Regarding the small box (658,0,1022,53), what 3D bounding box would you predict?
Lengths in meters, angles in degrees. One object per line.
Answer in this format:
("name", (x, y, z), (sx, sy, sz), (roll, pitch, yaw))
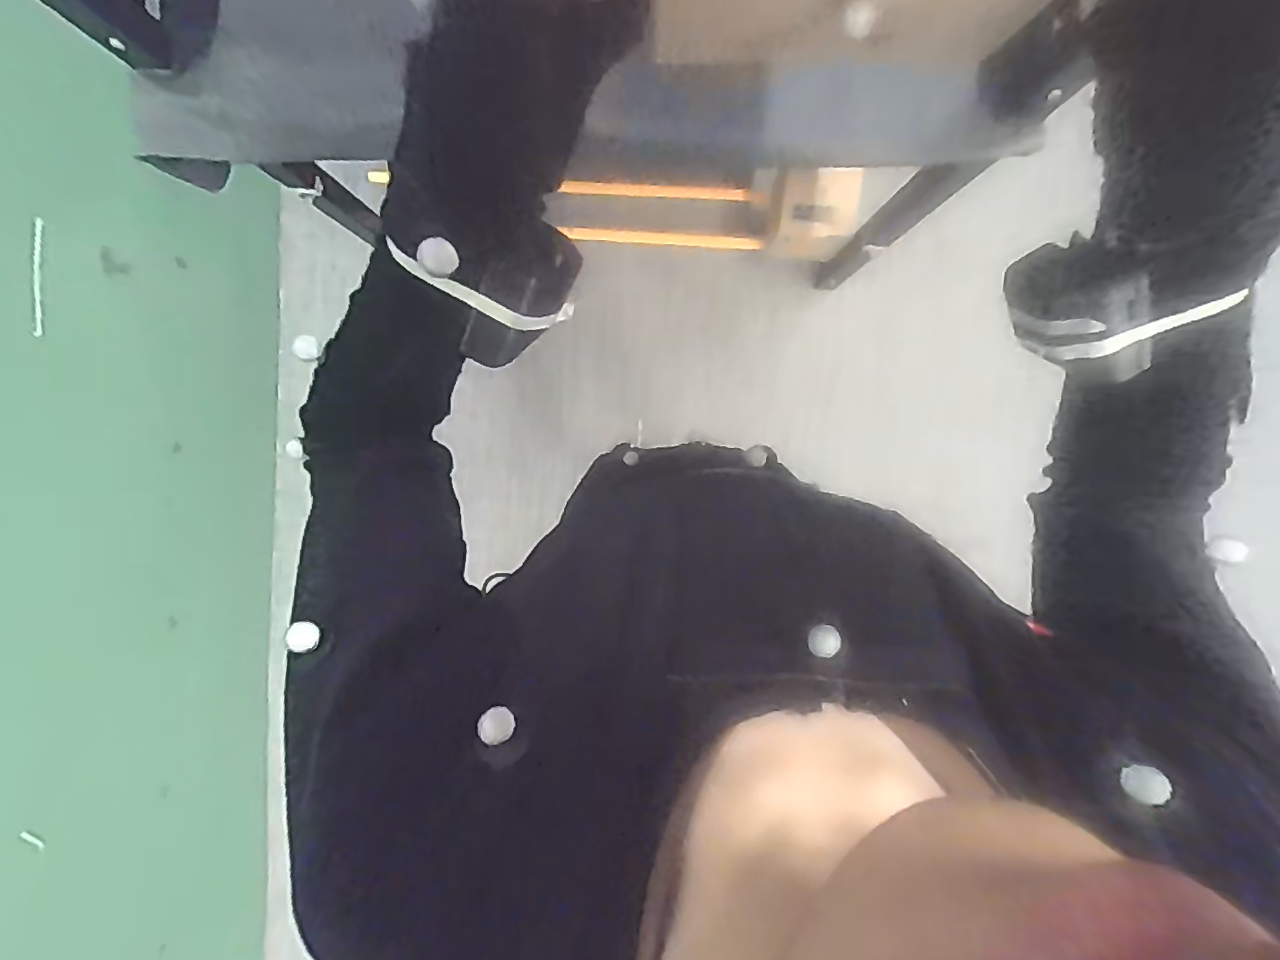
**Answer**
("small box", (0.086, -0.279, 0.168), (0.168, 0.176, 0.179), (1, 103, 1))
